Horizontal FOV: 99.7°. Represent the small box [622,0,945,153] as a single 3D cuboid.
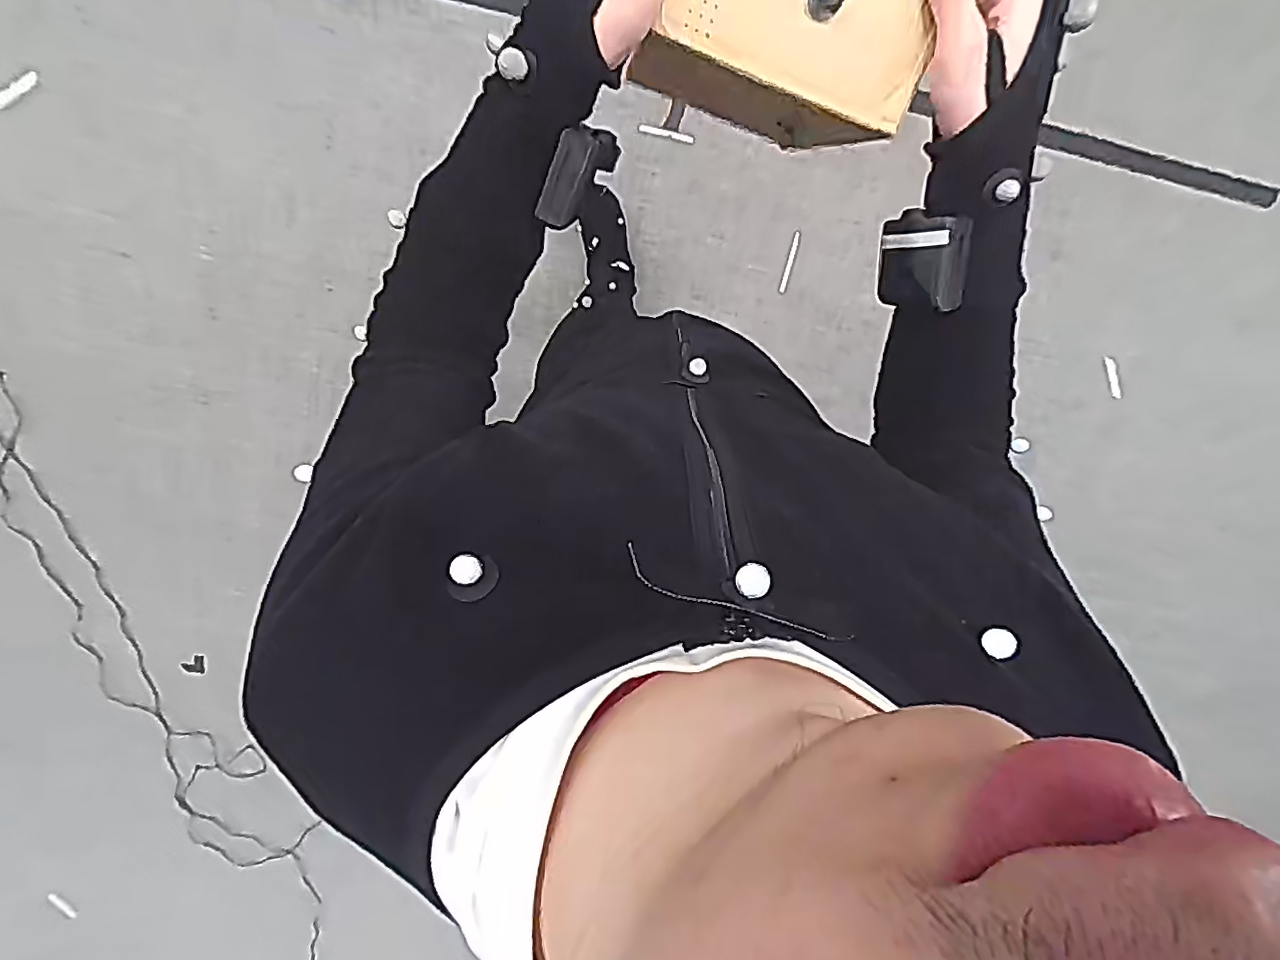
[{"bbox_3d":[0.094,-0.347,0.365,0.176,0.179,0.168,13,115,-16],"label":"small box"}]
